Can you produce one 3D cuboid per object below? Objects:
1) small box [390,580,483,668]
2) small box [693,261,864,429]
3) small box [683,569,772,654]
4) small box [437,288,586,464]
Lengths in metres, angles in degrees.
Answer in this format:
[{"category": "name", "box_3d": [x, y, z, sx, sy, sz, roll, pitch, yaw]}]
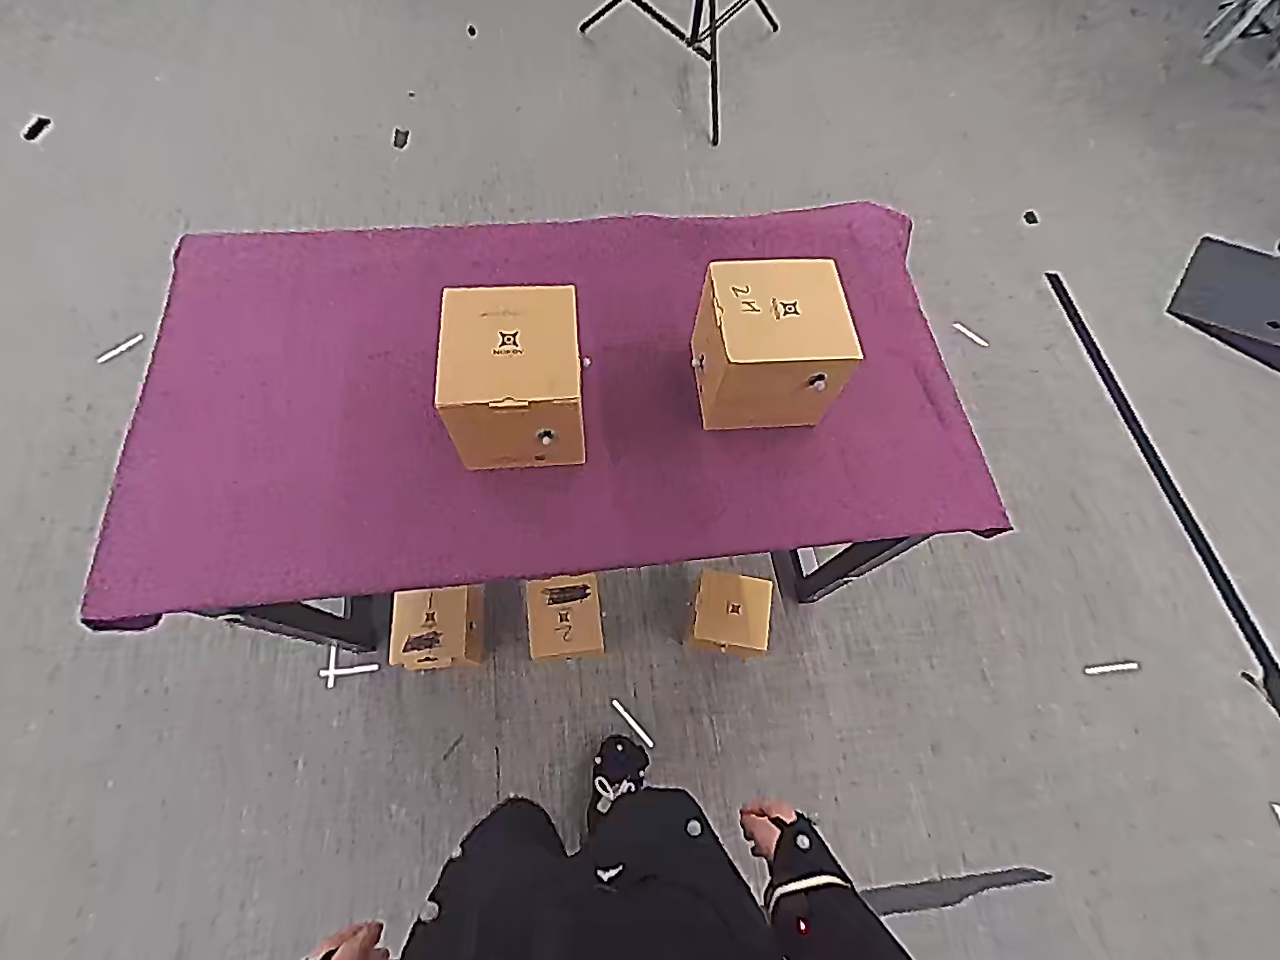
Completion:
[{"category": "small box", "box_3d": [-0.475, 0.348, 1.288, 0.168, 0.176, 0.179, -4, 66, -5]}, {"category": "small box", "box_3d": [0.182, -0.184, 0.766, 0.179, 0.176, 0.168, -3, 66, -5]}, {"category": "small box", "box_3d": [0.213, 0.332, 1.342, 0.179, 0.176, 0.168, 10, 67, 2]}, {"category": "small box", "box_3d": [-0.160, -0.129, 0.721, 0.168, 0.176, 0.179, -3, 65, -6]}]
